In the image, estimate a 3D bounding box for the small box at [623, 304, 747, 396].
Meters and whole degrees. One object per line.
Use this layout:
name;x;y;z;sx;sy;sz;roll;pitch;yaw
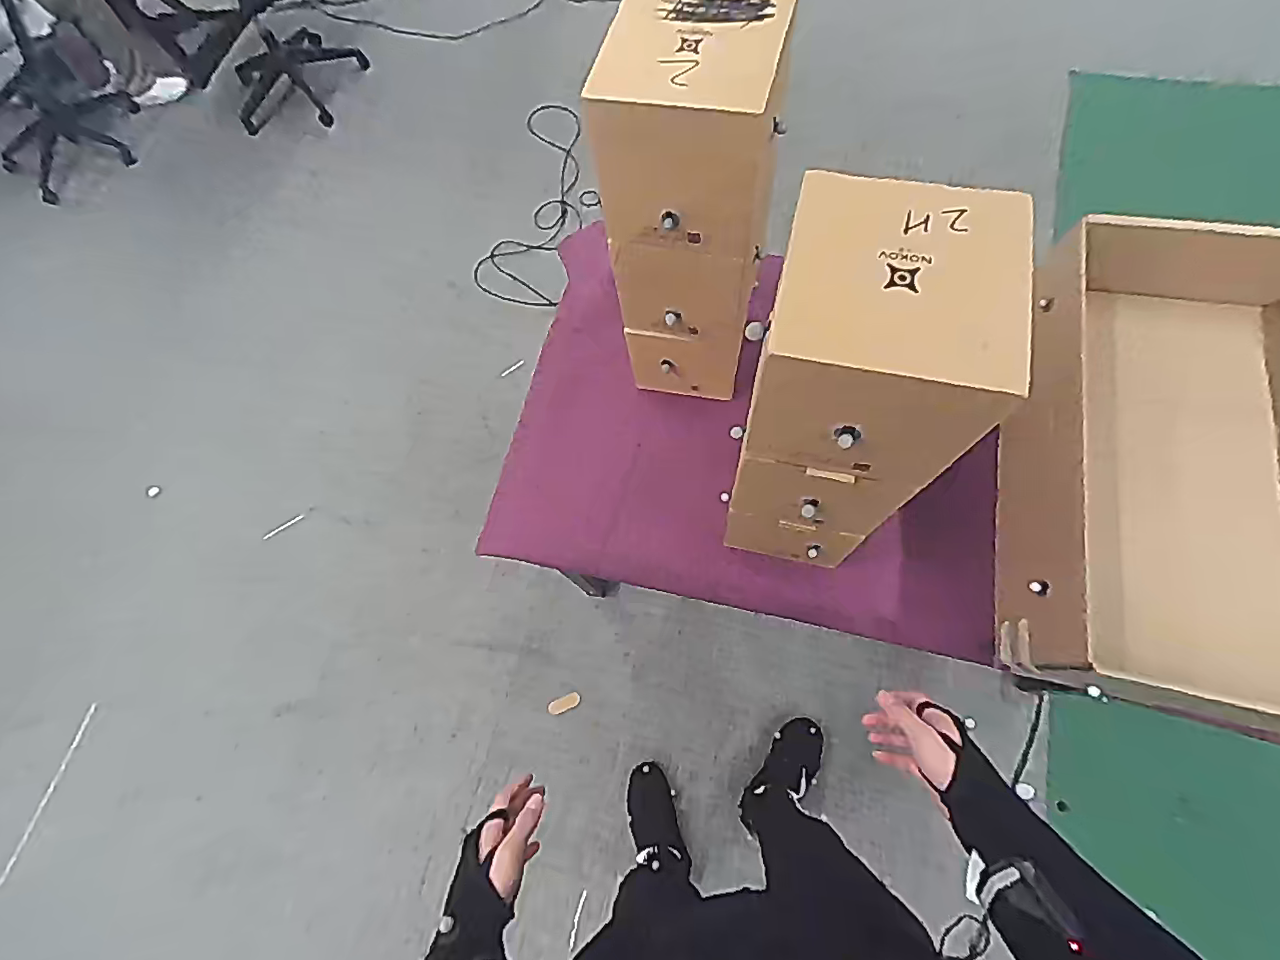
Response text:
small box;0.081;-0.255;0.873;0.168;0.176;0.179;10;70;10

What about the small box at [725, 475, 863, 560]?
small box;0.216;0.001;0.760;0.168;0.176;0.179;12;70;10

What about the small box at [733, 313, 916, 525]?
small box;0.202;-0.061;0.609;0.168;0.176;0.179;11;71;9

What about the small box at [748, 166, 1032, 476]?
small box;0.191;-0.121;0.455;0.168;0.176;0.179;13;70;9

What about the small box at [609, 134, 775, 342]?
small box;0.071;-0.315;0.720;0.168;0.176;0.179;14;72;11
